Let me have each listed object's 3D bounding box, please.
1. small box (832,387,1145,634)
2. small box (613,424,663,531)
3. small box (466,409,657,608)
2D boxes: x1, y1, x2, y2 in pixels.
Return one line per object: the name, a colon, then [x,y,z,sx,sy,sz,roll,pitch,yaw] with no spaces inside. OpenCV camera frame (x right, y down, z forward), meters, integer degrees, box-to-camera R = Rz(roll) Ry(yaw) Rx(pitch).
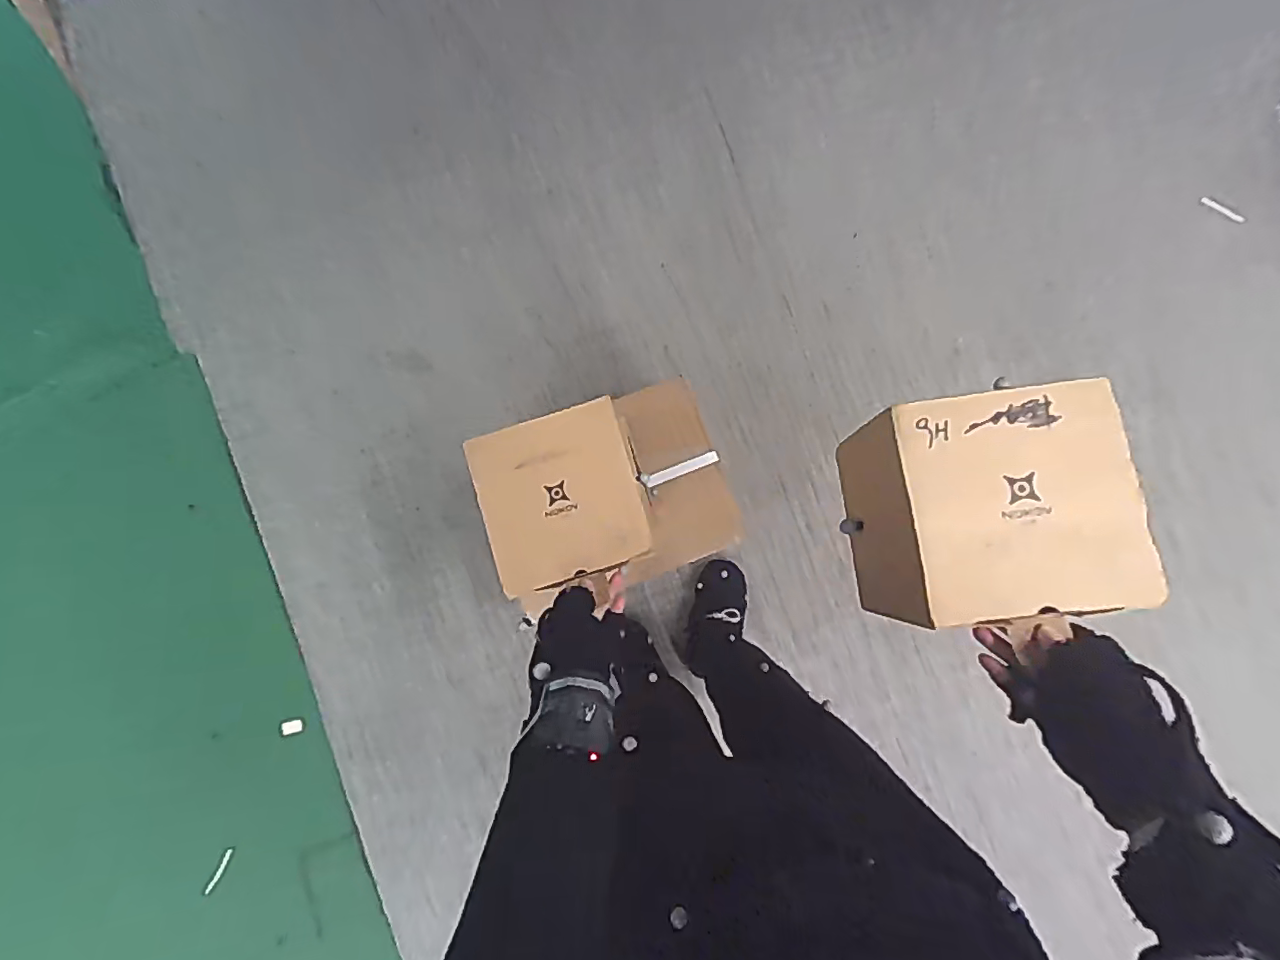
small box: [0.289,0.032,0.493,0.168,0.176,0.179,-8,82,4]
small box: [-0.078,0.018,0.846,0.179,0.176,0.168,-23,95,1]
small box: [-0.081,0.035,0.652,0.168,0.176,0.179,-19,84,1]
